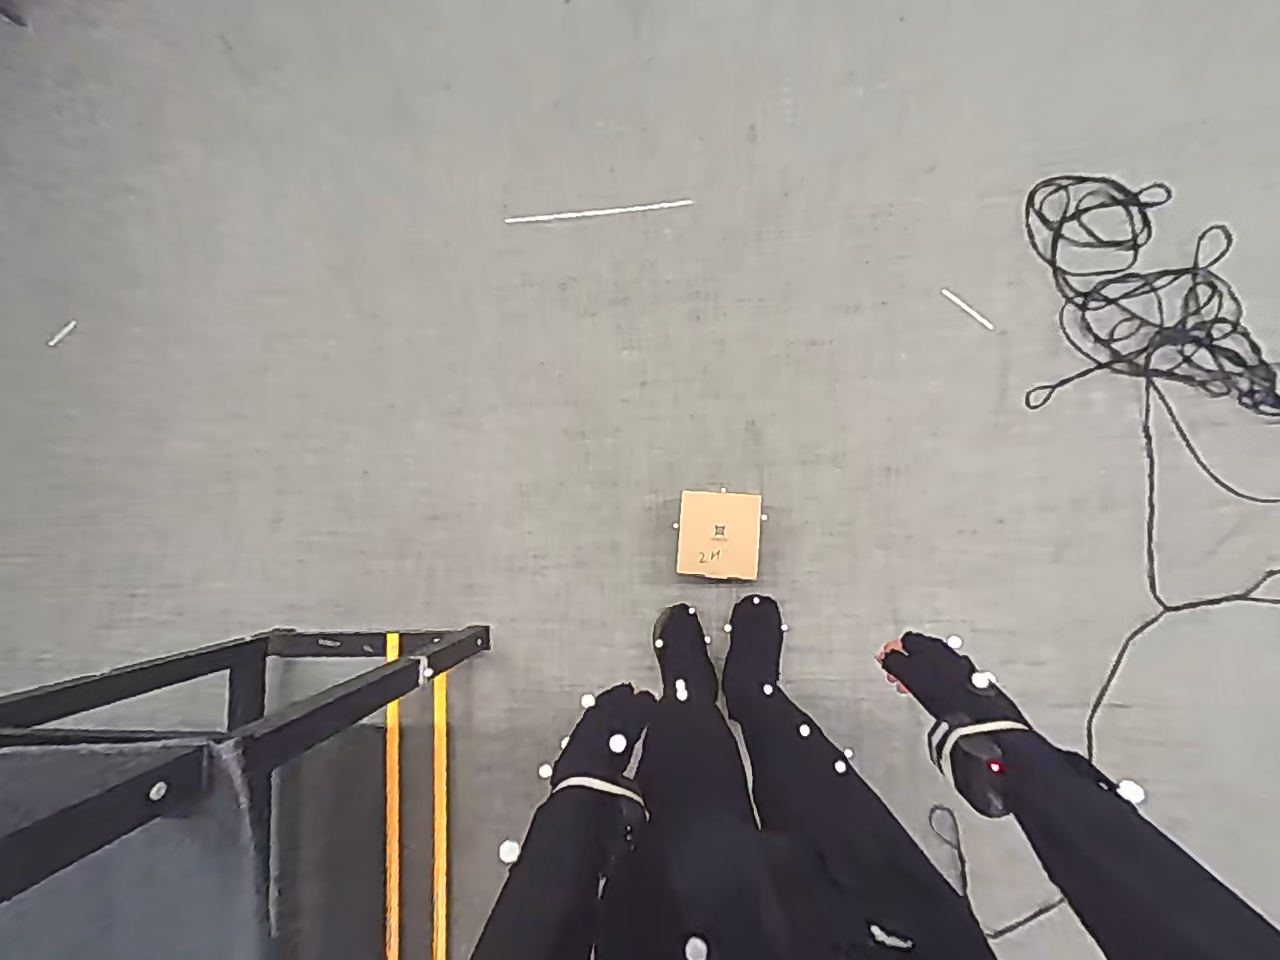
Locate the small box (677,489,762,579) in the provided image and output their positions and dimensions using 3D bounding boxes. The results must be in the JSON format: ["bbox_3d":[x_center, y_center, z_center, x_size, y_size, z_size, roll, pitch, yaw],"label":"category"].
[{"bbox_3d":[0.174,0.116,1.194,0.168,0.176,0.179,4,86,8],"label":"small box"}]
